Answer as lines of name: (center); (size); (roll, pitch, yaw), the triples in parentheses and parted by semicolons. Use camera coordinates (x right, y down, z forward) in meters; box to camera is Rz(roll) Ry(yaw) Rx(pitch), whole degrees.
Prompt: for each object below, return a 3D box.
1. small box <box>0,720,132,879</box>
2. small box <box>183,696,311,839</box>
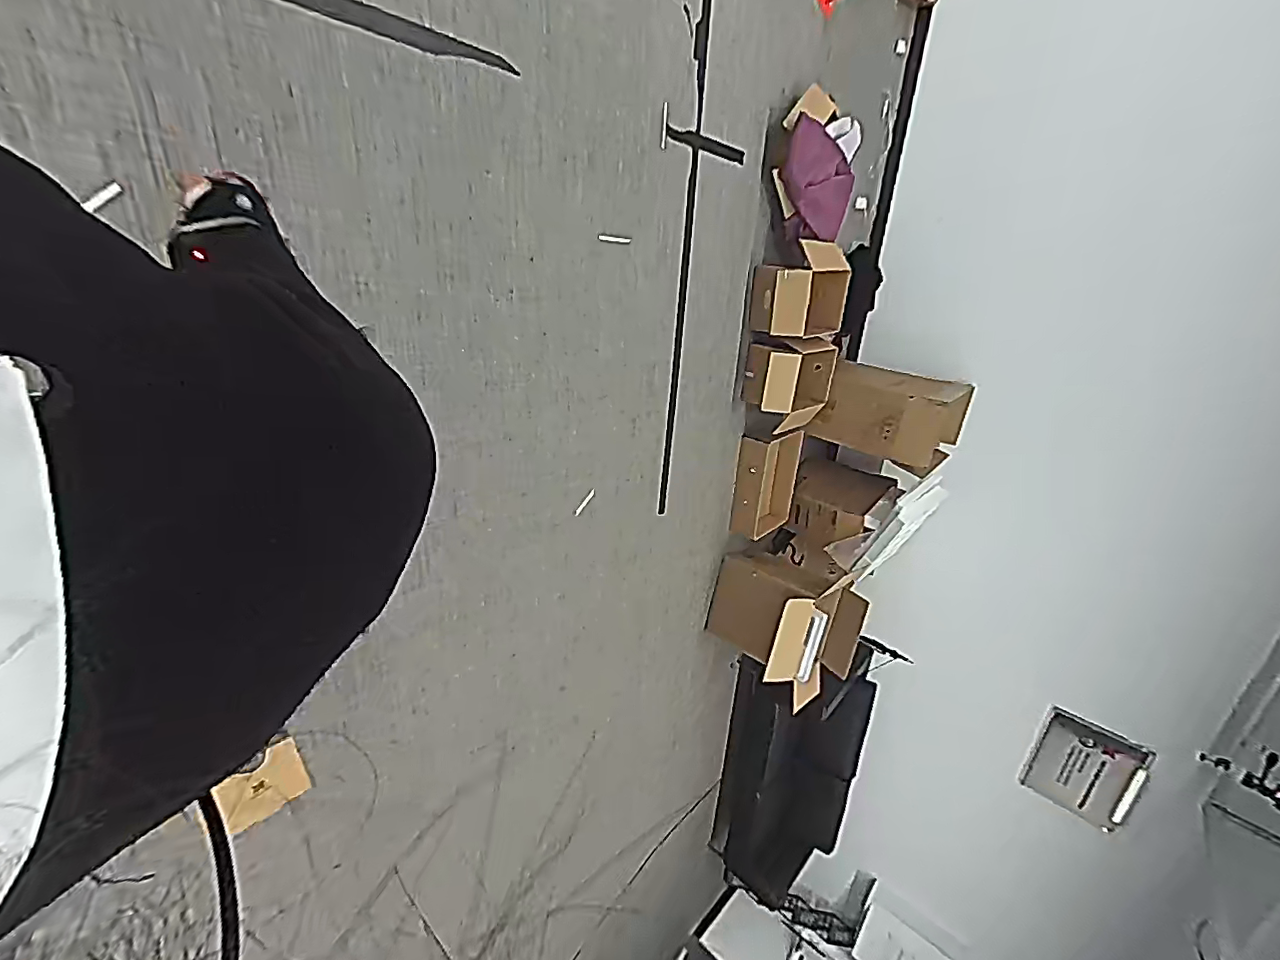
small box: (-1.155, 0.626, 1.083); (0.168, 0.176, 0.179); (-16, 119, -47)
small box: (-0.851, 0.613, 1.175); (0.168, 0.176, 0.179); (-26, 126, -41)
